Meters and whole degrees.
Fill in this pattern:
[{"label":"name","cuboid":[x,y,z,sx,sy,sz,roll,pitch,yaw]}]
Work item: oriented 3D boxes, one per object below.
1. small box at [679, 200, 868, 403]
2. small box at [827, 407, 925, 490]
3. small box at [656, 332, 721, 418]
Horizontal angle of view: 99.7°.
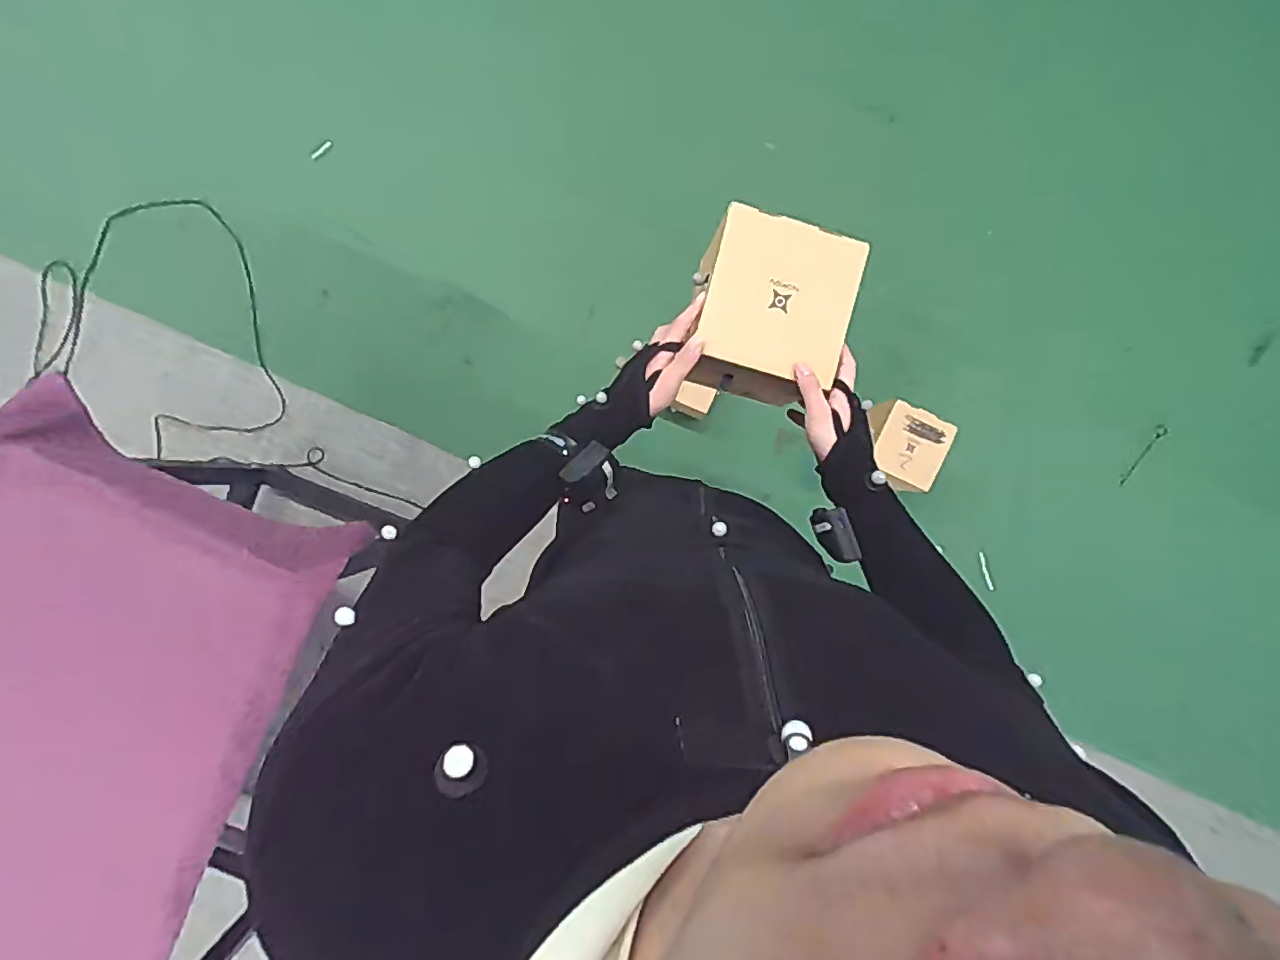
[{"label":"small box","cuboid":[0.151,-0.205,0.677,0.168,0.176,0.179,15,89,-4]},{"label":"small box","cuboid":[0.659,-0.087,1.535,0.168,0.176,0.179,27,91,1]},{"label":"small box","cuboid":[0.151,-0.294,1.547,0.168,0.176,0.179,24,92,2]}]
